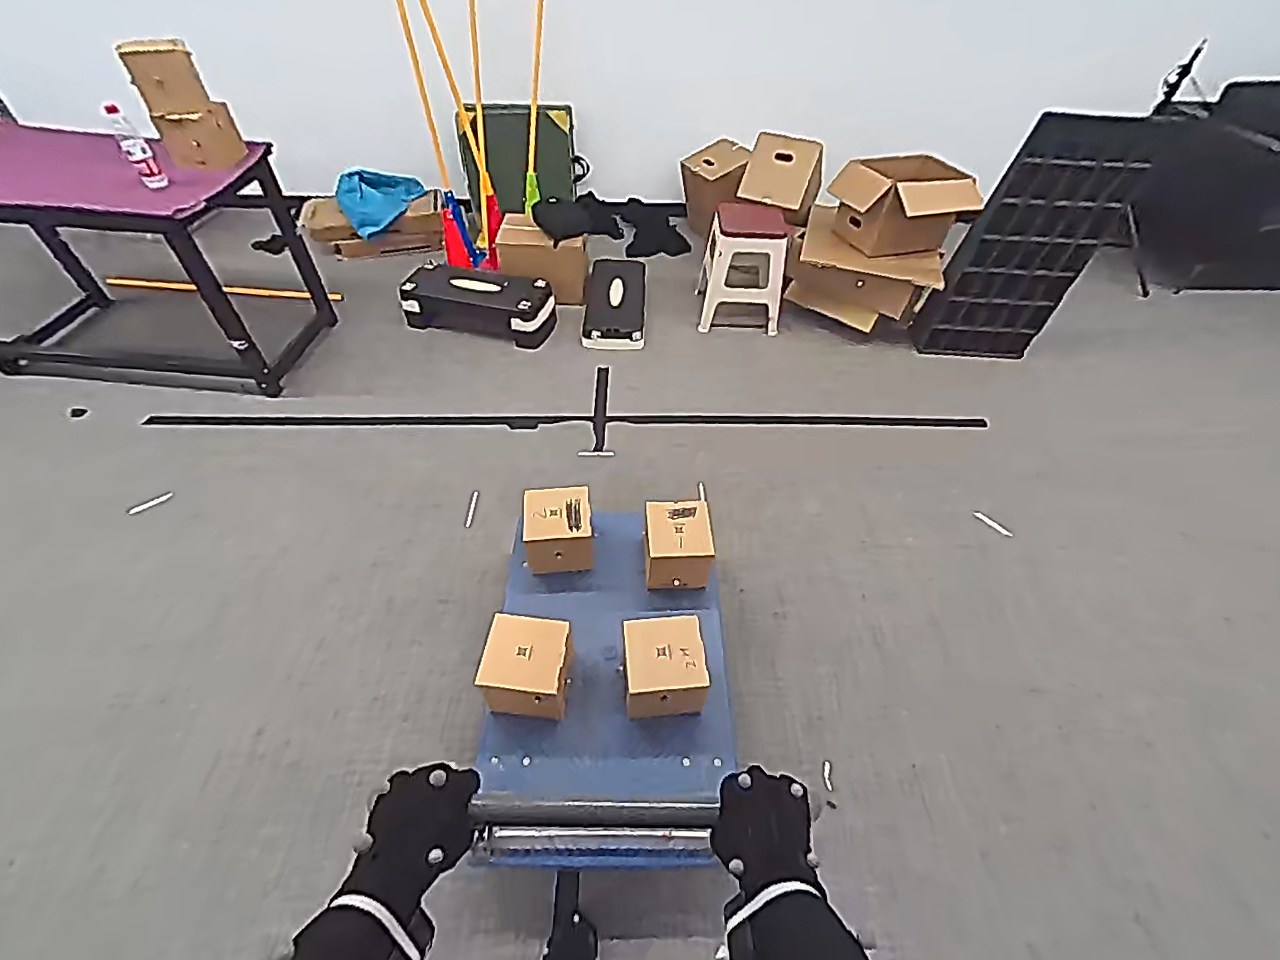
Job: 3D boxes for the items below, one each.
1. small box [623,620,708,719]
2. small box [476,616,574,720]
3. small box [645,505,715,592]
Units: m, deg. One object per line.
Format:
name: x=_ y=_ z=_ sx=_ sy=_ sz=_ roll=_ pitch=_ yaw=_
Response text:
small box: x=0.053 y=0.440 z=1.247 sx=0.179 sy=0.176 sz=0.168 roll=-3 pitch=50 yaw=-4
small box: x=-0.254 y=0.434 z=1.239 sx=0.179 sy=0.176 sz=0.168 roll=7 pitch=49 yaw=2
small box: x=0.101 y=0.187 z=1.466 sx=0.168 sy=0.176 sz=0.179 roll=-1 pitch=50 yaw=-3
